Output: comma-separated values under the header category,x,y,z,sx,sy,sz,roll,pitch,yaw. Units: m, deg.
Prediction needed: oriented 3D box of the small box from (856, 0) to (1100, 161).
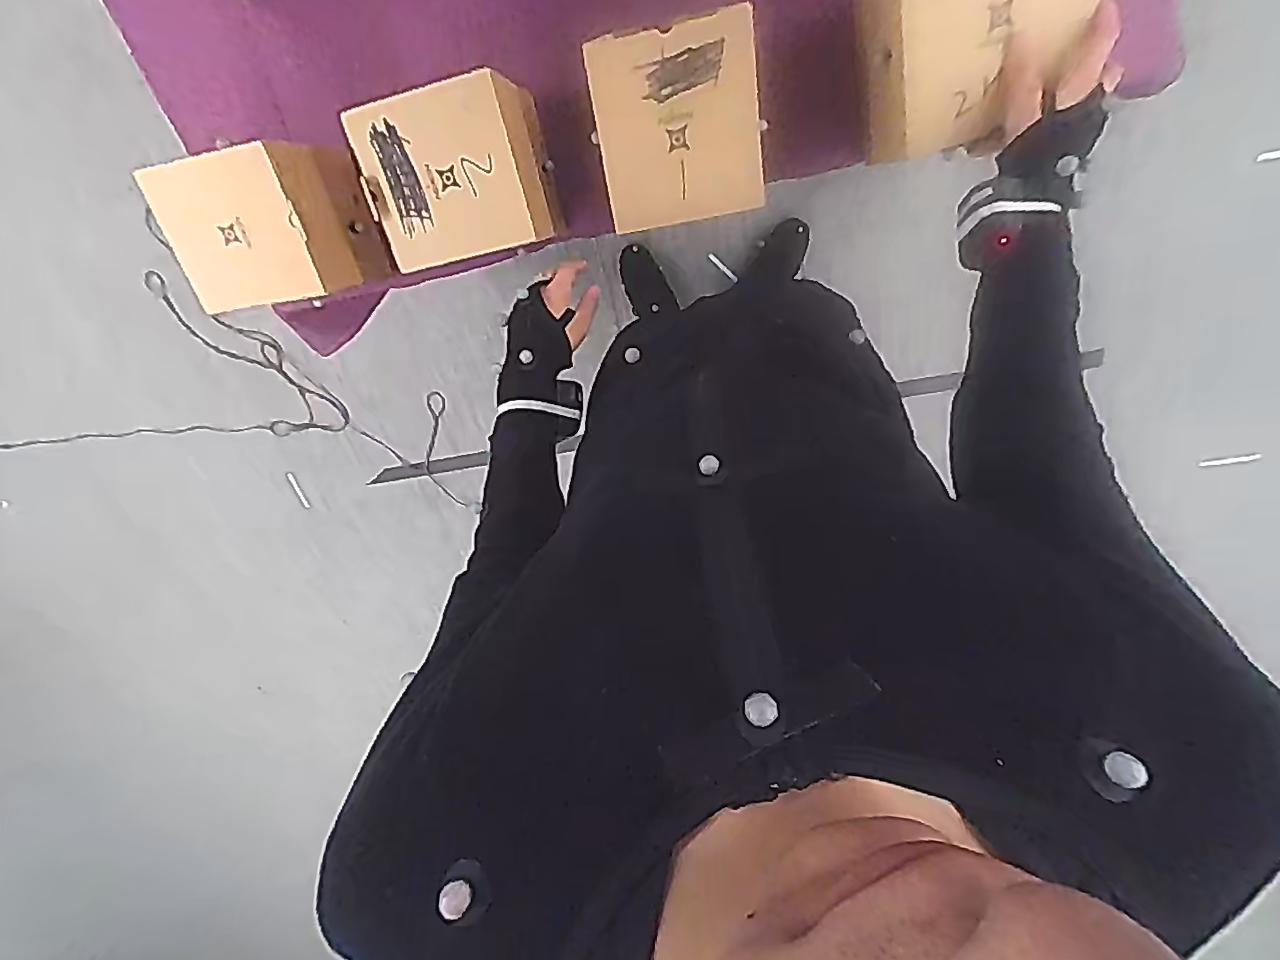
category,x,y,z,sx,sy,sz,roll,pitch,yaw
small box,0.331,-0.451,0.558,0.168,0.176,0.179,-10,117,13

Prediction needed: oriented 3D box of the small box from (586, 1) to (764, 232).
category,x,y,z,sx,sy,sz,roll,pitch,yaw
small box,0.046,-0.397,0.618,0.168,0.176,0.179,-6,119,10
